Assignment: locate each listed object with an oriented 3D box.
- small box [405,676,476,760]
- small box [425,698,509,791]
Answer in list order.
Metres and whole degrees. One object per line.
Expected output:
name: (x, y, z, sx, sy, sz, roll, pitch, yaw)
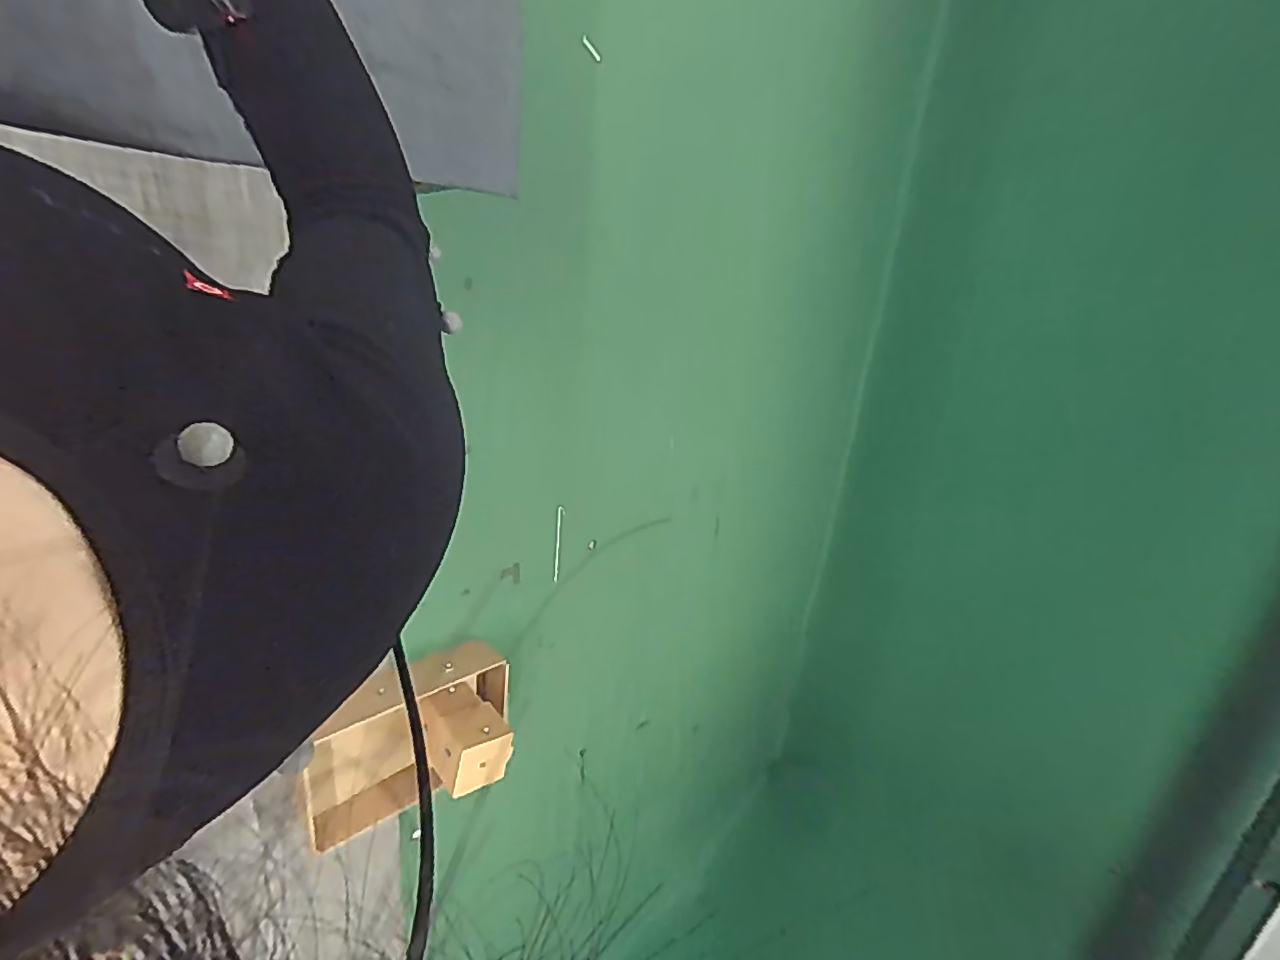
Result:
small box: (-0.650, 0.777, 1.780, 0.168, 0.176, 0.179, 9, 101, -48)
small box: (-0.537, 0.806, 1.665, 0.179, 0.176, 0.168, 2, 107, -48)
